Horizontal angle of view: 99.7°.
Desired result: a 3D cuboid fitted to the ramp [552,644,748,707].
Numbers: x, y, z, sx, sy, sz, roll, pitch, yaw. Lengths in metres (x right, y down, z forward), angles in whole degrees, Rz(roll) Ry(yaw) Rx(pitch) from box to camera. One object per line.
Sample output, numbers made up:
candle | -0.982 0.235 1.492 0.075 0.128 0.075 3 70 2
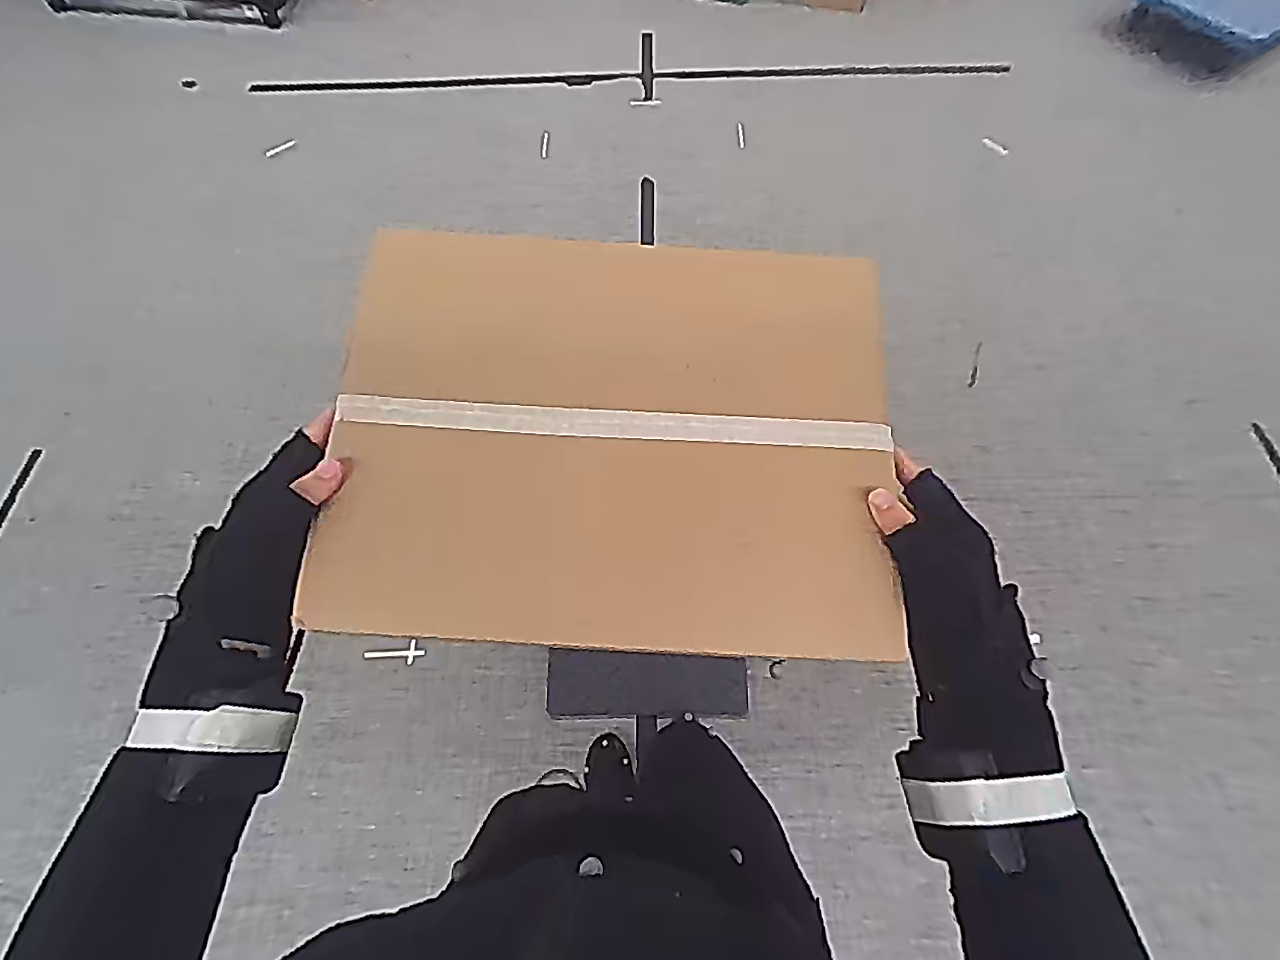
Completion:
ramp | 0.021 0.072 1.449 0.509 0.206 0.991 -2 66 -1

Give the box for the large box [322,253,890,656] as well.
large box | -0.018 0.004 0.556 0.408 0.320 0.320 3 74 0
